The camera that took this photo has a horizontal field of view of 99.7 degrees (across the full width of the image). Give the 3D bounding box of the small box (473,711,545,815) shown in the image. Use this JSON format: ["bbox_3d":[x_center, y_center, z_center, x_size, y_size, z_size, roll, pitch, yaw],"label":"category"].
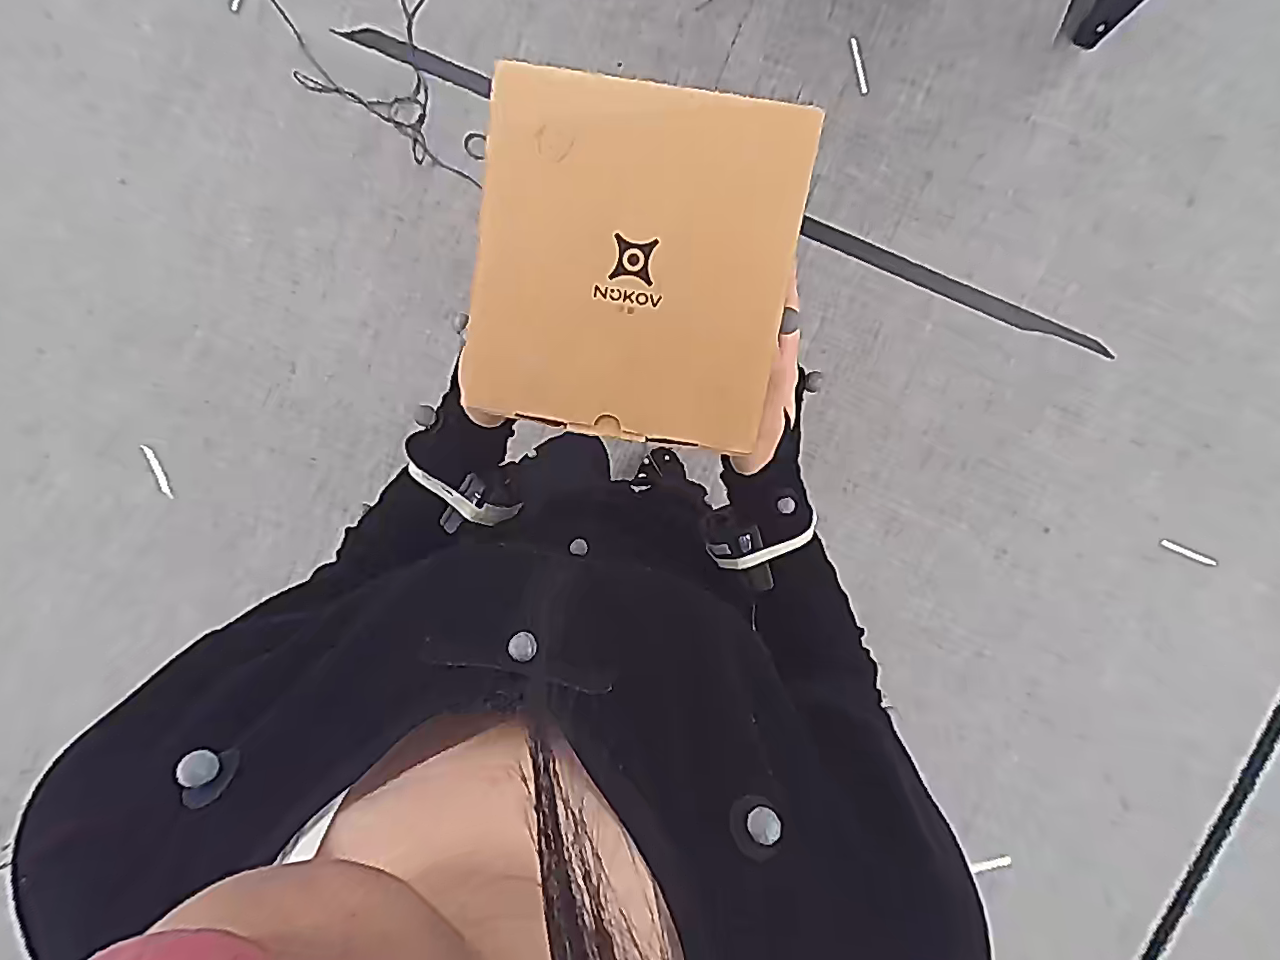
[{"bbox_3d":[-0.368,0.752,1.455,0.179,0.176,0.168,16,94,0],"label":"small box"}]

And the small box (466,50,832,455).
[{"bbox_3d":[0.003,-0.126,0.353,0.168,0.176,0.179,9,102,1],"label":"small box"}]
